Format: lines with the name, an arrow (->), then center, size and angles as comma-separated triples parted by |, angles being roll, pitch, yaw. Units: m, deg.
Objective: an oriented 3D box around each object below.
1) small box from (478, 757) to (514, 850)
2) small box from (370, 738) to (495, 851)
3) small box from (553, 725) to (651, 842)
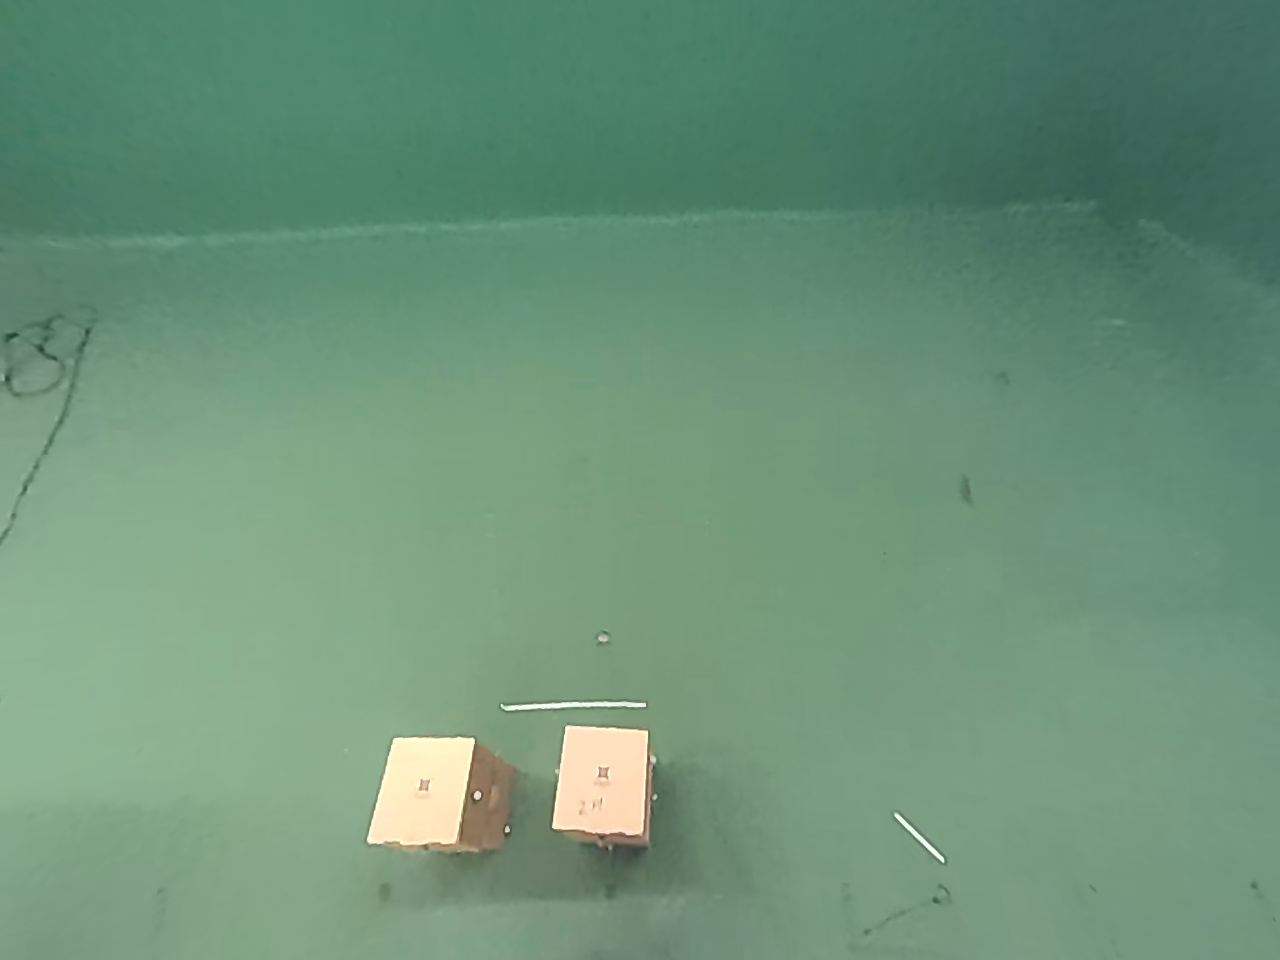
small box -> -0.392, 0.722, 1.207 | 0.179, 0.176, 0.168 | -2, 53, 3
small box -> -0.398, 0.627, 1.075 | 0.168, 0.176, 0.179 | -1, 53, 3
small box -> -0.066, 0.604, 1.073 | 0.168, 0.176, 0.179 | 2, 54, 4
